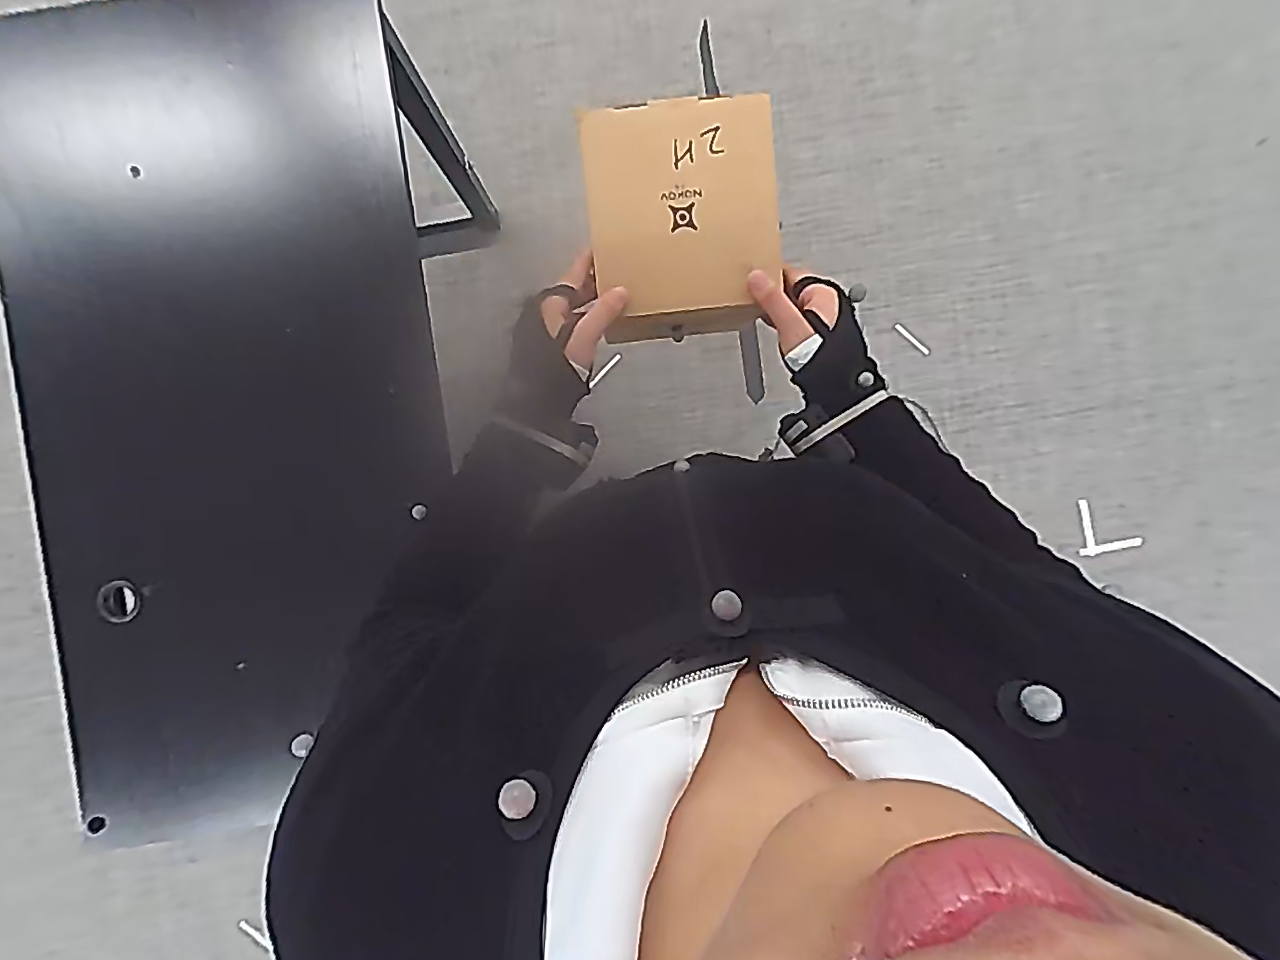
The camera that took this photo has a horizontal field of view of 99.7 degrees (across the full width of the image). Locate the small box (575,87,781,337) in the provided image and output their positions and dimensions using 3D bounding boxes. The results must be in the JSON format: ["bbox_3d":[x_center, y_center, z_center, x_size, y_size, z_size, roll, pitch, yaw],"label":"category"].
[{"bbox_3d":[0.035,-0.246,0.545,0.168,0.176,0.179,-7,96,0],"label":"small box"}]
